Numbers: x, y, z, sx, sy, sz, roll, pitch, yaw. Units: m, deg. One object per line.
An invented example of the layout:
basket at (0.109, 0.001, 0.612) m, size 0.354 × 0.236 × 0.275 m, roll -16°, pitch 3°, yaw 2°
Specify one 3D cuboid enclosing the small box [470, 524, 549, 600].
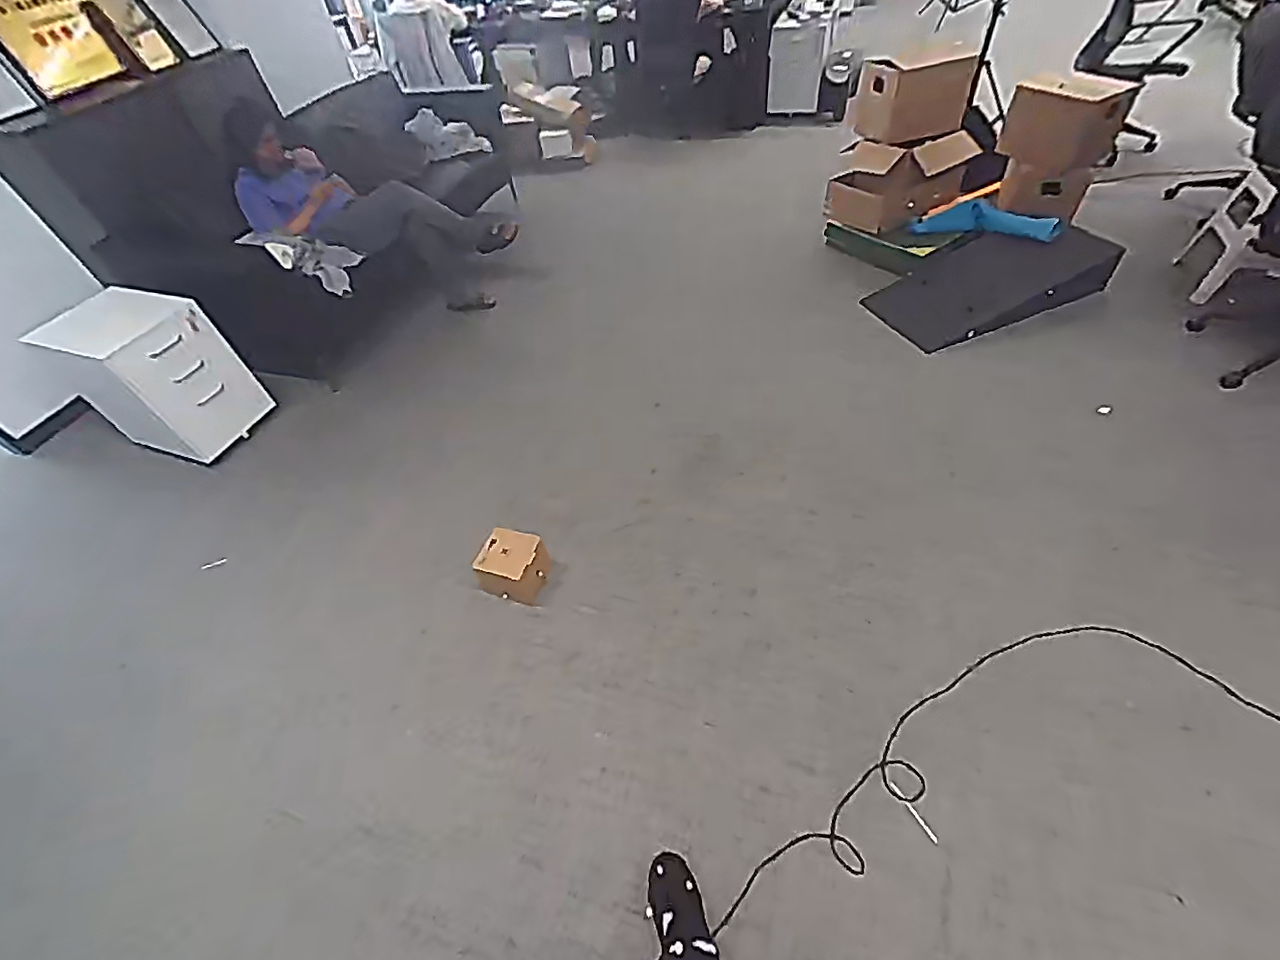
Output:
small box at (-0.419, 0.274, 1.779) m, size 0.179 × 0.176 × 0.168 m, roll 12°, pitch 51°, yaw 17°
